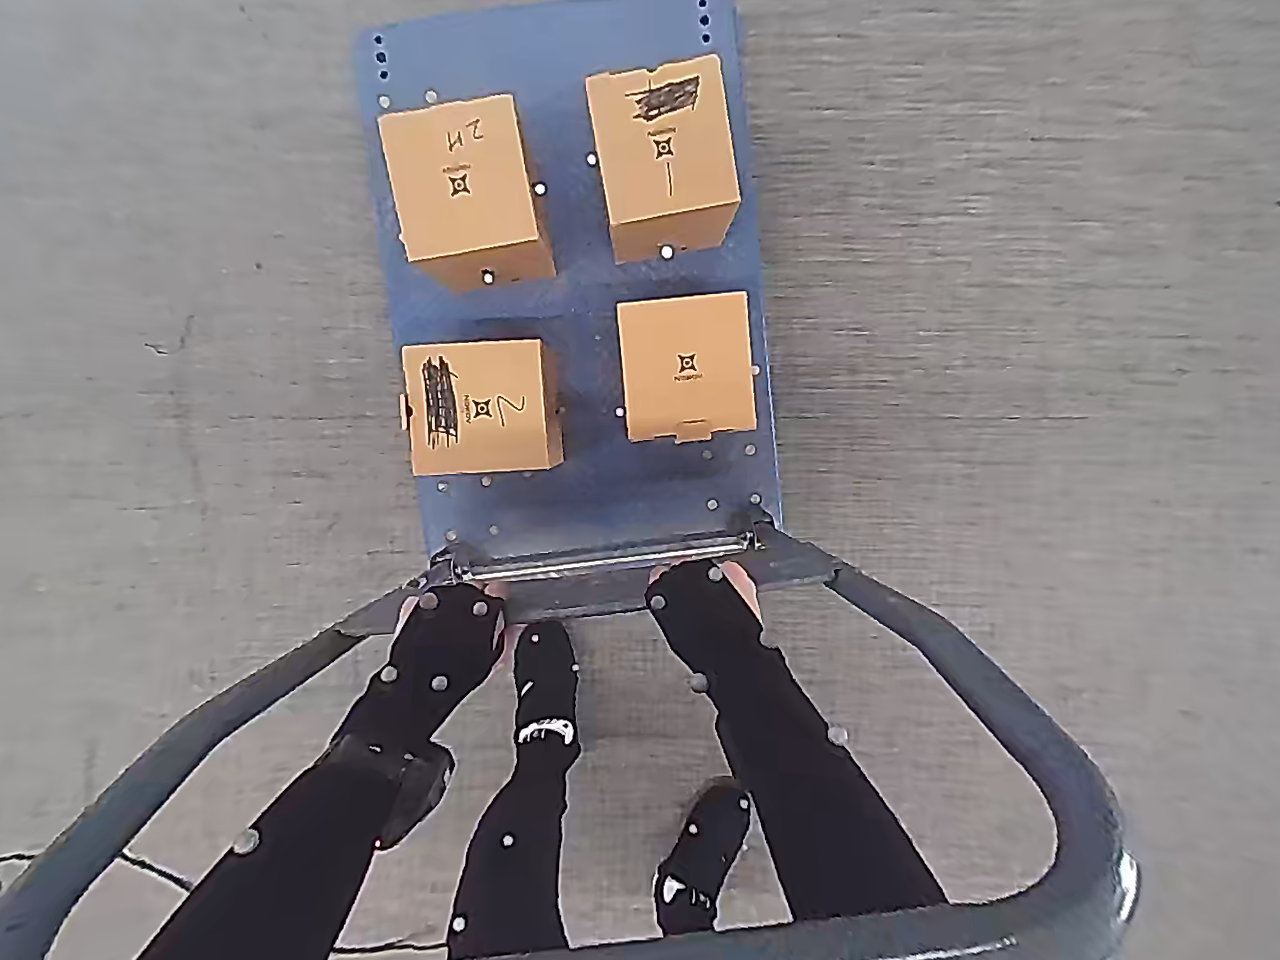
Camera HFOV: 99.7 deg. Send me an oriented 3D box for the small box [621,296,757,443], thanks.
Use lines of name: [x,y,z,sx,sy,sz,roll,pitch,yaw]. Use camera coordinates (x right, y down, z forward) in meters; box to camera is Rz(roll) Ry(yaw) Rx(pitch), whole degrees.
small box: [0.061,-0.145,0.762,0.168,0.176,0.179,-5,96,0]

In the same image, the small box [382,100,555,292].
small box: [-0.218,-0.368,0.737,0.168,0.176,0.179,-10,95,-1]

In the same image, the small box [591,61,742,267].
small box: [0.031,-0.413,0.736,0.168,0.176,0.179,-10,96,1]
